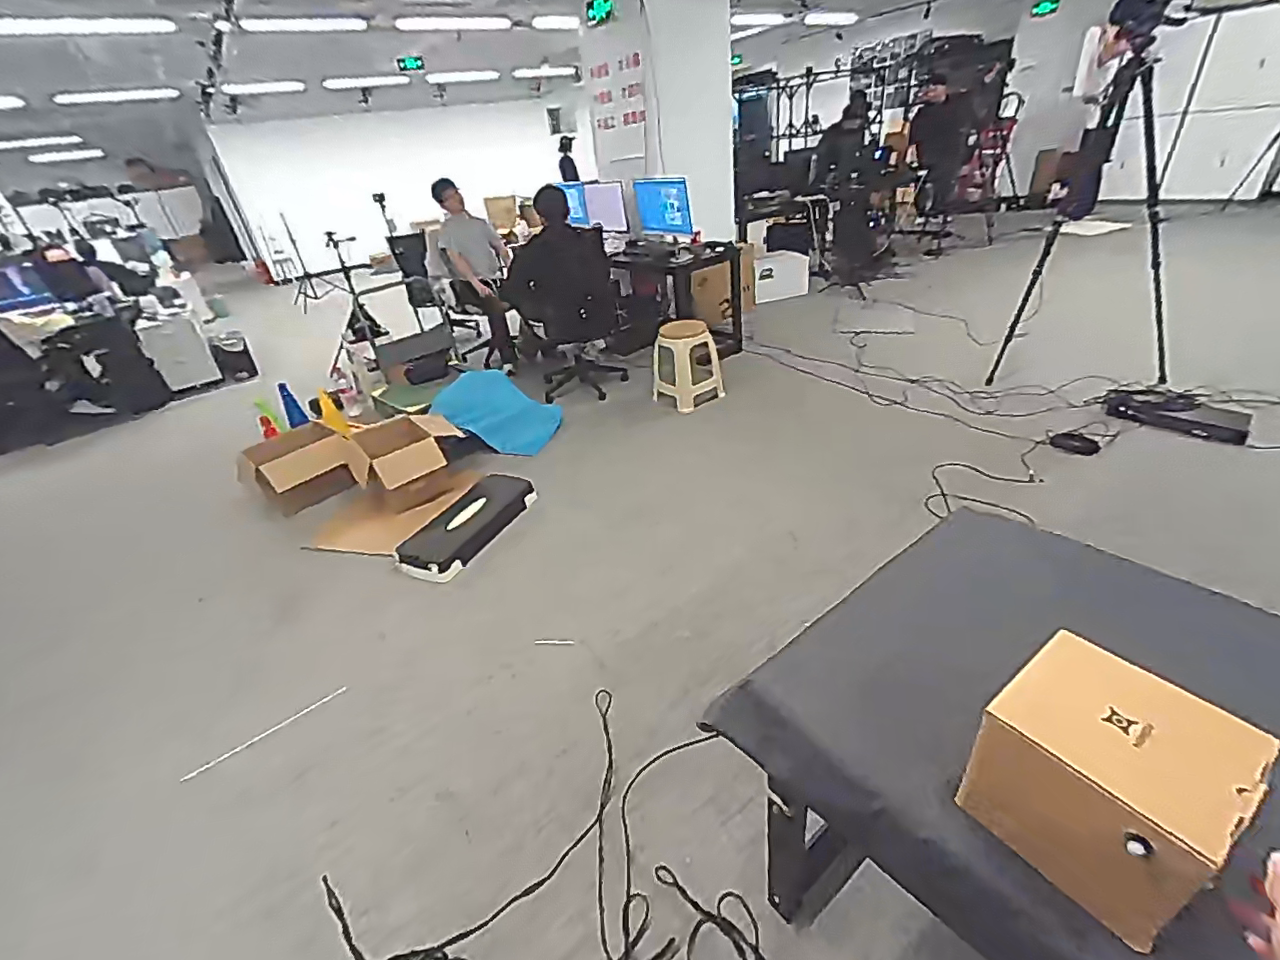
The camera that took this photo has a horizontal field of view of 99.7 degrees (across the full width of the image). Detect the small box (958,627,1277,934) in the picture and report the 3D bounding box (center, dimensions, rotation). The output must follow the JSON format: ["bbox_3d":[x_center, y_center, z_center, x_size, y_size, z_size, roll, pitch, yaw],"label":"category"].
[{"bbox_3d":[0.459,0.292,0.547,0.168,0.176,0.179,-24,35,-27],"label":"small box"}]
